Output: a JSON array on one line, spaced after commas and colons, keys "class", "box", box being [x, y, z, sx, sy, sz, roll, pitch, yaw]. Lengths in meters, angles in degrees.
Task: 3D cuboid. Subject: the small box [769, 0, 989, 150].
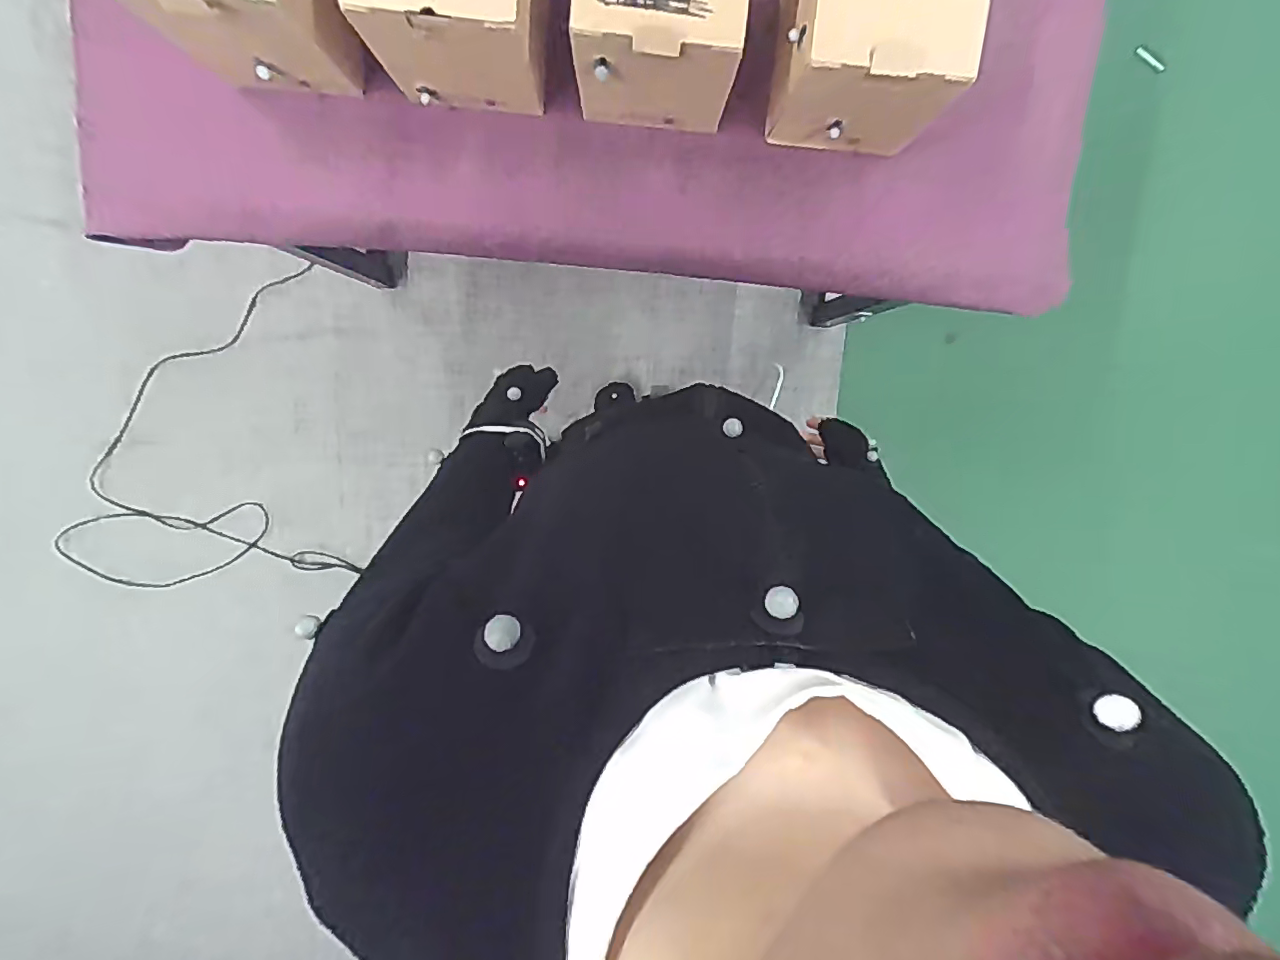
[{"class": "small box", "box": [0.245, -0.491, 0.580, 0.168, 0.176, 0.179, 5, 100, -2]}]

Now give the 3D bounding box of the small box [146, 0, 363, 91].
[{"class": "small box", "box": [-0.404, -0.546, 0.553, 0.168, 0.176, 0.179, 5, 100, -2]}]
